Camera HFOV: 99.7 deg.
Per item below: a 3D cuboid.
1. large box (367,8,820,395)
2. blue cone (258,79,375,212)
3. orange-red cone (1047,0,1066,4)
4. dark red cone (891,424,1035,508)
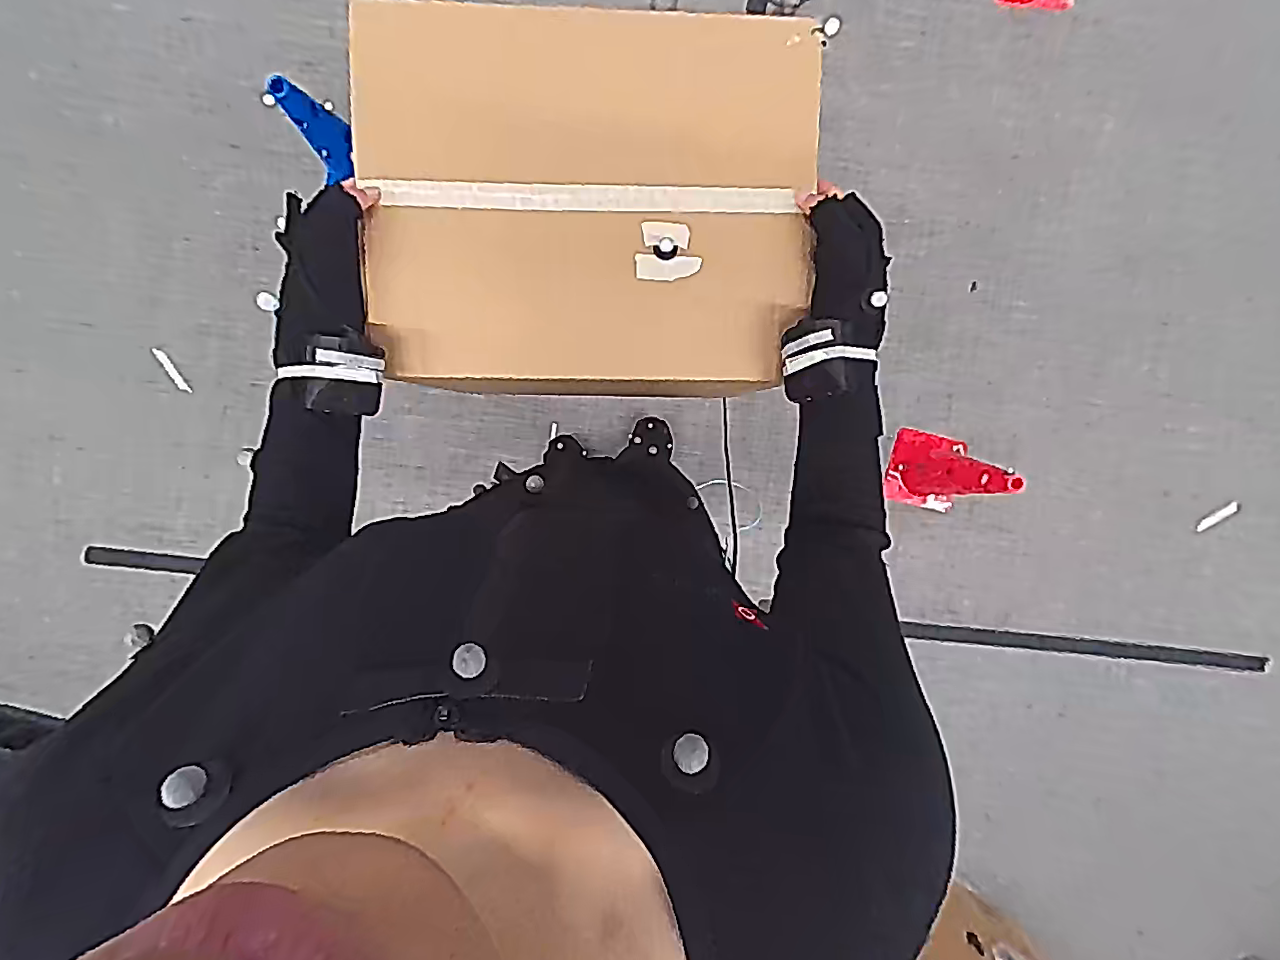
[{"bbox_3d":[-0.047,-0.266,0.633,0.408,0.320,0.320,0,96,-3],"label":"large box"},{"bbox_3d":[-0.702,-0.766,1.215,0.192,0.380,0.193,10,96,-1],"label":"blue cone"},{"bbox_3d":[1.008,-1.295,1.184,0.198,0.360,0.199,4,95,-3],"label":"orange-red cone"},{"bbox_3d":[0.789,-0.017,1.292,0.201,0.394,0.202,12,96,-2],"label":"dark red cone"}]
